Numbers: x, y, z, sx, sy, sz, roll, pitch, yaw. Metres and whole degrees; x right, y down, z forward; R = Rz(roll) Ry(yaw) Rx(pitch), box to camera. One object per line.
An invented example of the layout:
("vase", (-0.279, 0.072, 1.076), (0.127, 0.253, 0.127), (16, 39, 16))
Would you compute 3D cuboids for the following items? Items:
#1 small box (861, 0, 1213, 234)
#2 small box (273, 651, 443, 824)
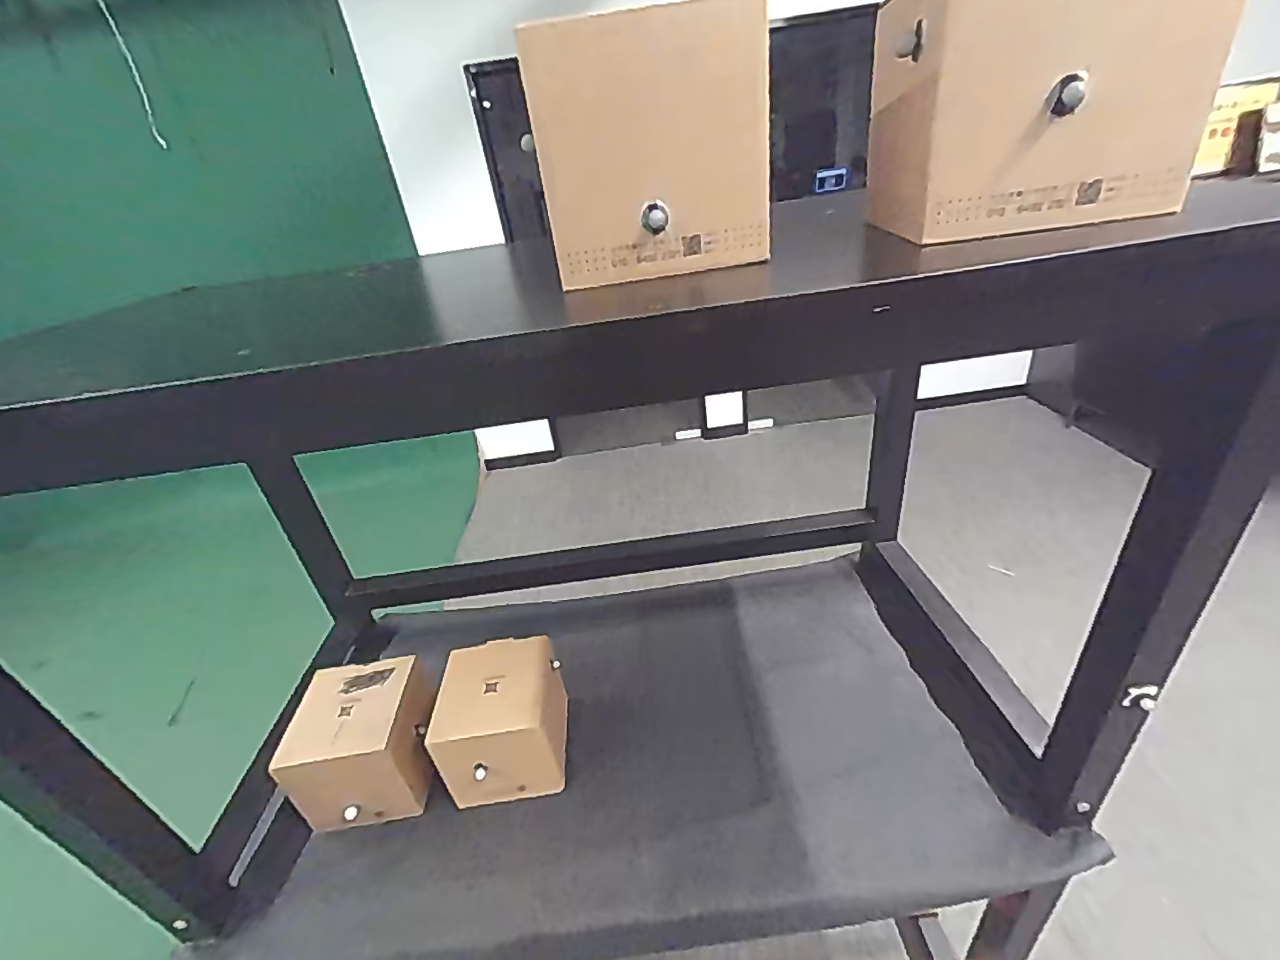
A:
("small box", (0.273, -0.290, 0.407), (0.168, 0.176, 0.179), (-3, 30, 10))
("small box", (-0.431, 0.408, 0.865), (0.168, 0.176, 0.179), (-9, 30, -1))
